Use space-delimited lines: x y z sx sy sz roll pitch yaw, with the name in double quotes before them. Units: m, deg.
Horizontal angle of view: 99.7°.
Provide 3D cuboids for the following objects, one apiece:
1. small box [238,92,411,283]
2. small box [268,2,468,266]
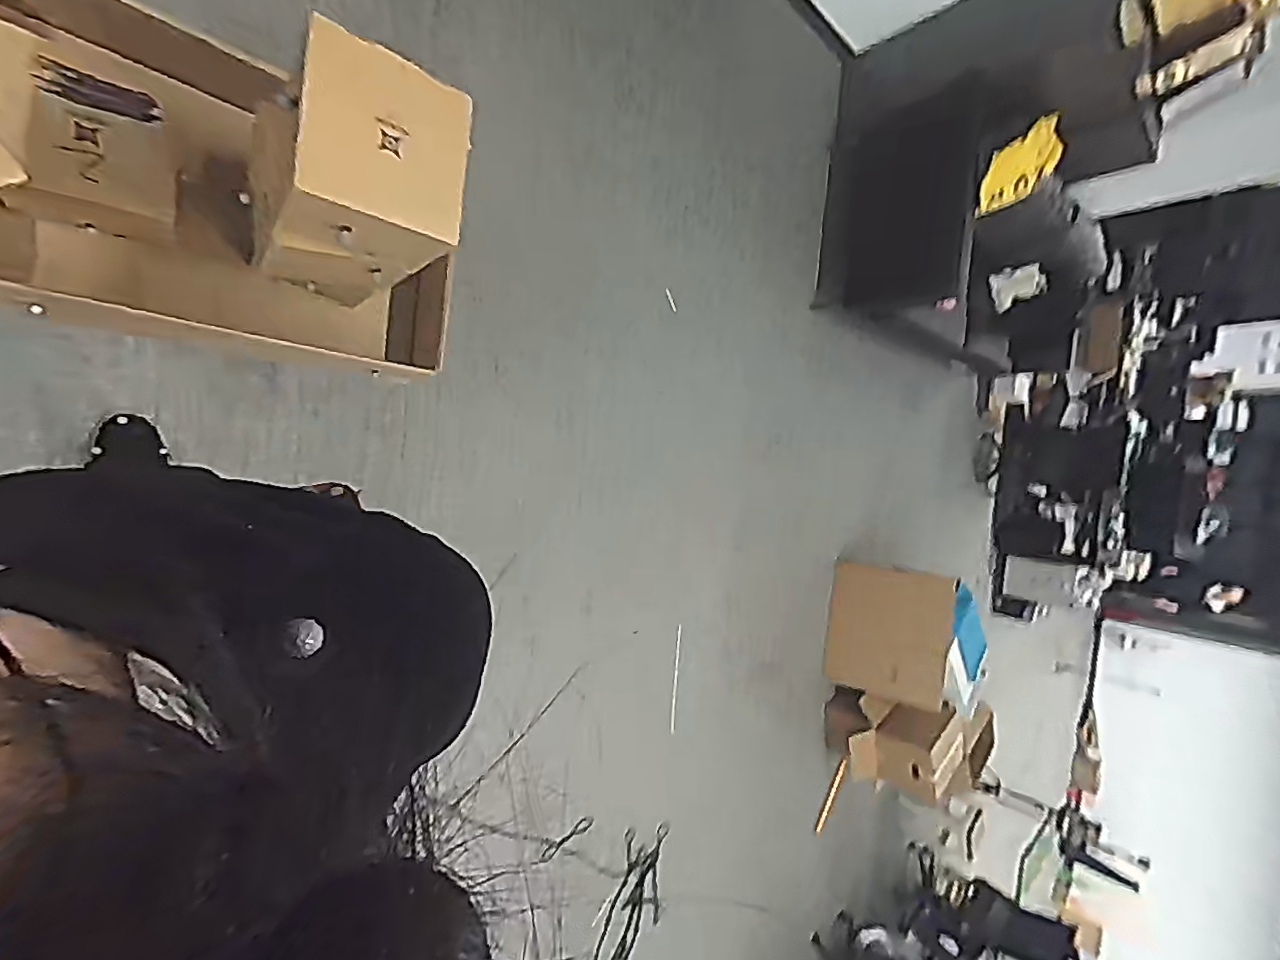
"small box" -0.433 -0.379 0.743 0.179 0.176 0.168 -5 97 -40
"small box" -0.319 -0.371 0.628 0.168 0.176 0.179 6 91 -41
